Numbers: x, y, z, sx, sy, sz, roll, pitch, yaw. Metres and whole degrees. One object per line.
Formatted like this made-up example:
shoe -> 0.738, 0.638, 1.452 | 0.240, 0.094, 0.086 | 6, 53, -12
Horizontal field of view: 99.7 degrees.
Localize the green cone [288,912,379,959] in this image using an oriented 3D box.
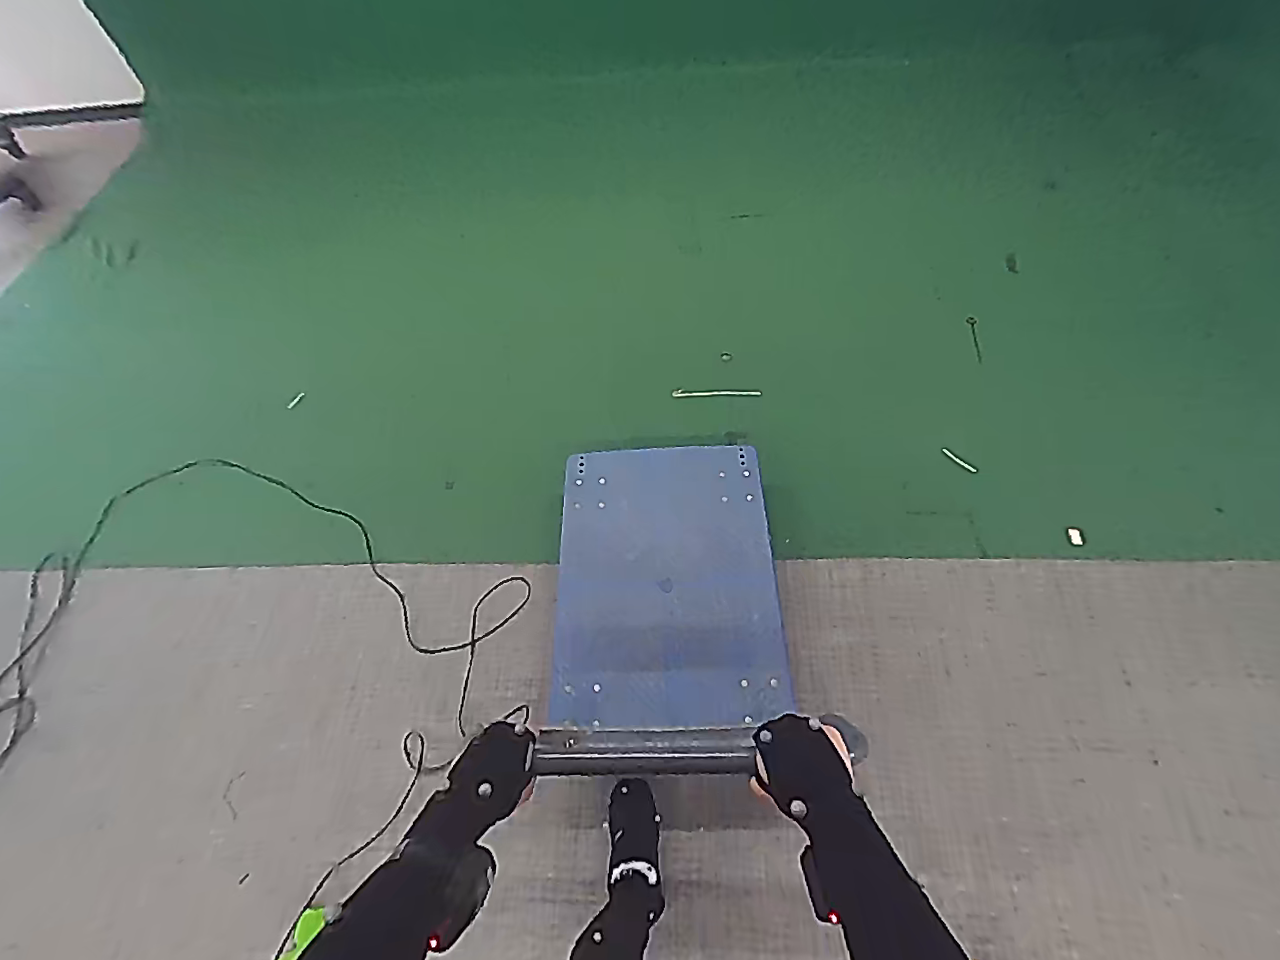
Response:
green cone -> -0.701, 0.991, 1.043 | 0.202, 0.368, 0.200 | -5, 58, 4
